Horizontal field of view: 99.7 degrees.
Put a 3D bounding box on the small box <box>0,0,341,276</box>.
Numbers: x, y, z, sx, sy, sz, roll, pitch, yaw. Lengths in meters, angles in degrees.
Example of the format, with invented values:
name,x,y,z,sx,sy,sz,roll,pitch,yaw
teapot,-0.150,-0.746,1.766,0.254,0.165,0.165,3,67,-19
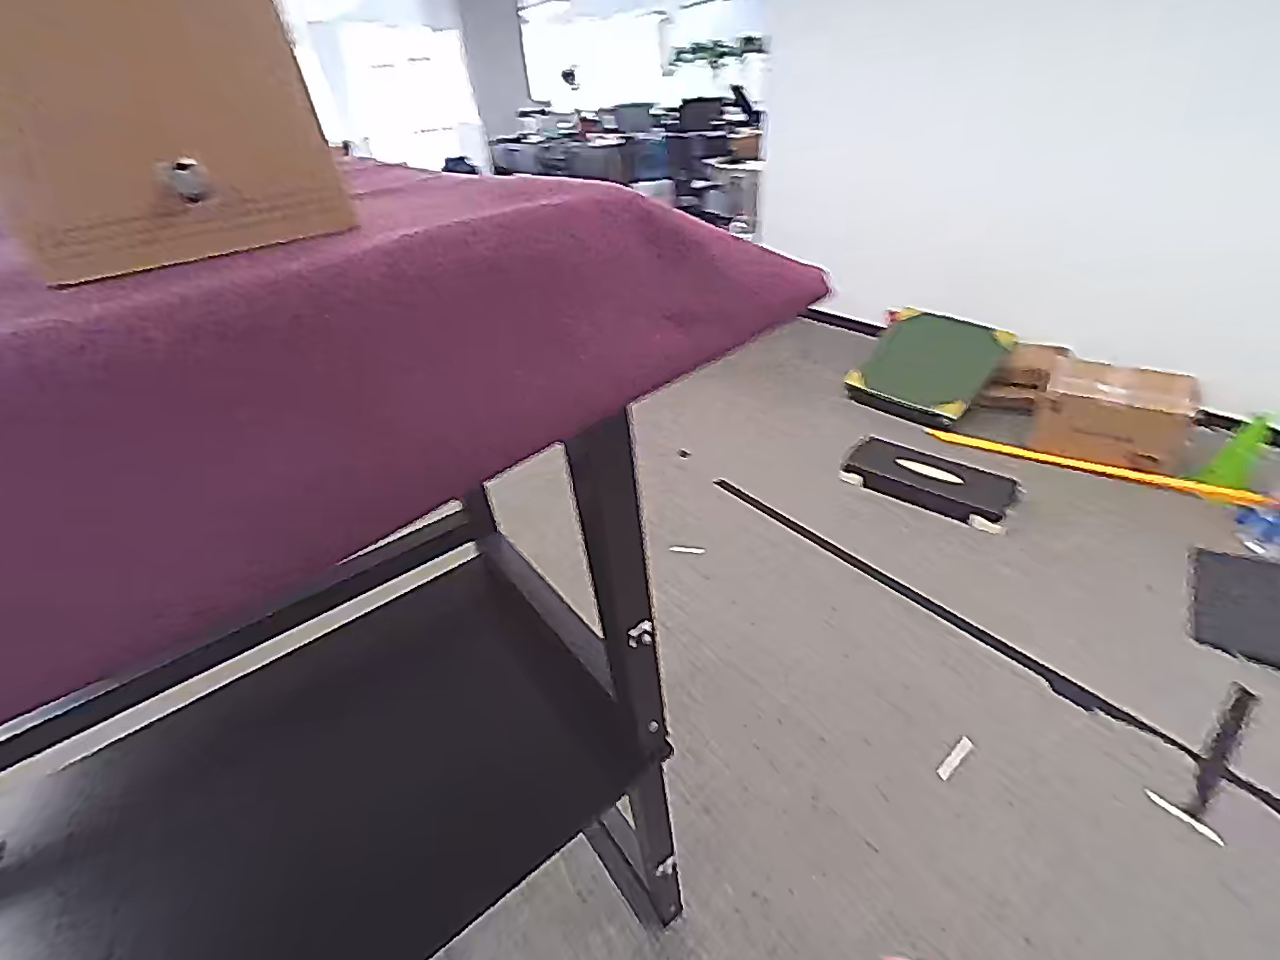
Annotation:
name,x,y,z,sx,sy,sz,roll,pitch,yaw
small box,-0.318,-0.245,0.347,0.179,0.176,0.168,-27,40,-27
